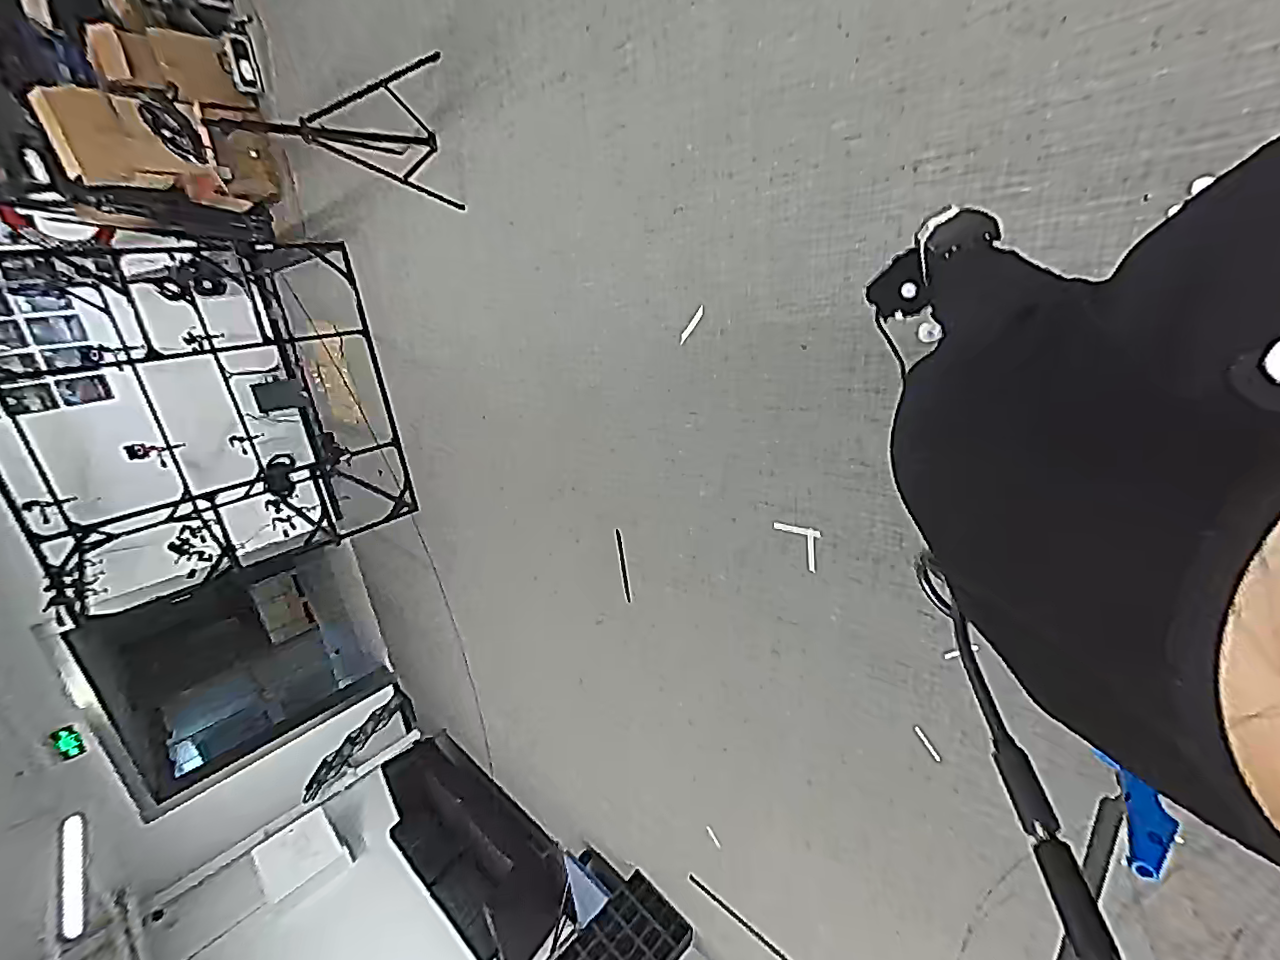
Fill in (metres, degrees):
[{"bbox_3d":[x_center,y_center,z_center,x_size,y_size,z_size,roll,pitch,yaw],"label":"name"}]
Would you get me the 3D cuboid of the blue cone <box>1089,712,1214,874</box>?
[{"bbox_3d":[1.113,0.723,1.198,0.192,0.380,0.193,31,129,35],"label":"blue cone"}]
